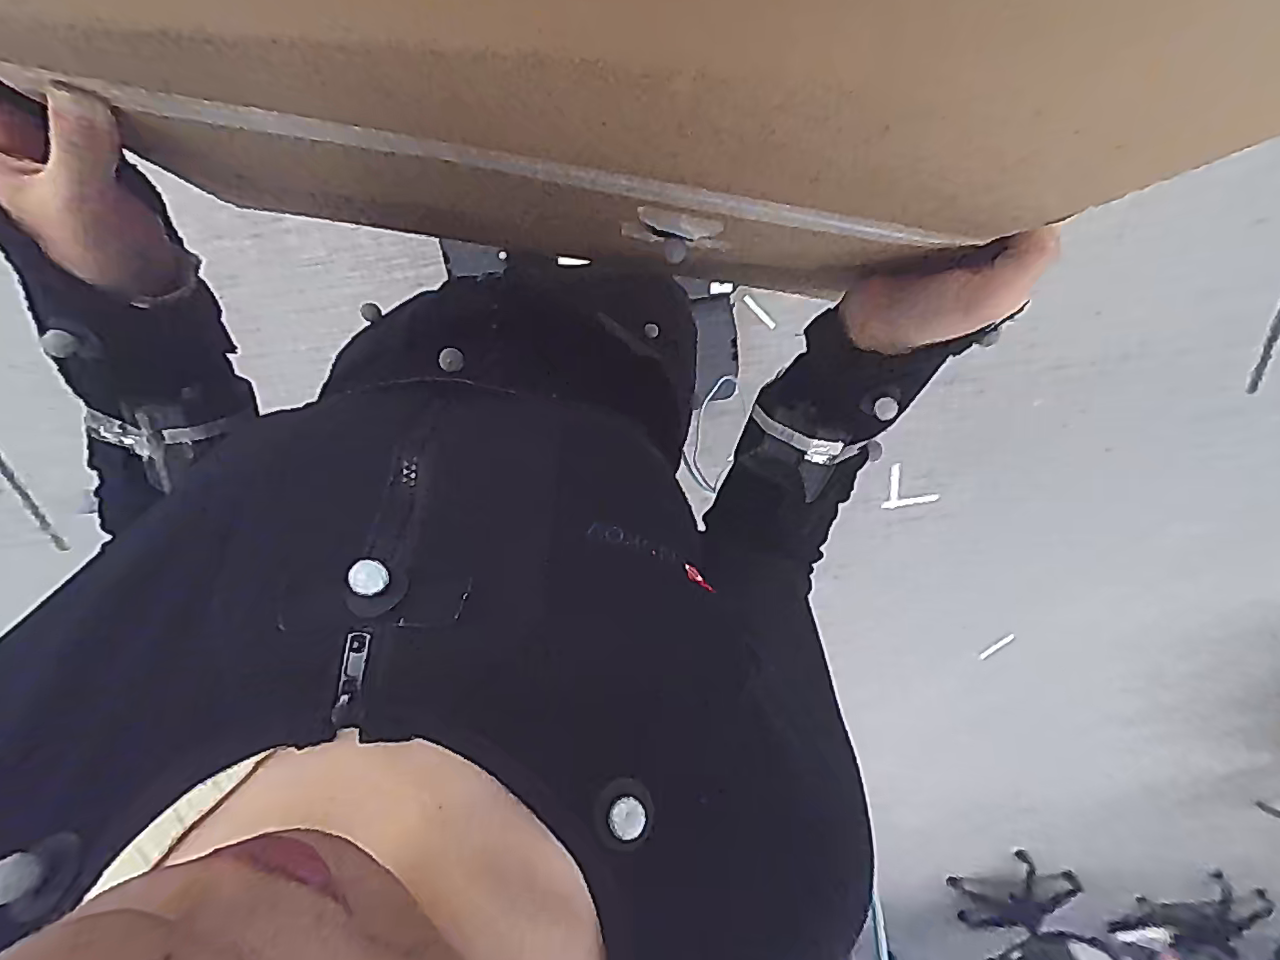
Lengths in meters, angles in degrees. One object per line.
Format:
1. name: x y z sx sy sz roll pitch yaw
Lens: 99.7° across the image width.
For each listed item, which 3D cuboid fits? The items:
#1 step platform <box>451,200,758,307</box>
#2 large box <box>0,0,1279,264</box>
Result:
1. step platform: -0.073 -0.562 1.239 0.684 0.204 0.286 -2 119 -1
2. large box: -0.008 -0.289 0.168 0.408 0.320 0.320 6 99 -7
